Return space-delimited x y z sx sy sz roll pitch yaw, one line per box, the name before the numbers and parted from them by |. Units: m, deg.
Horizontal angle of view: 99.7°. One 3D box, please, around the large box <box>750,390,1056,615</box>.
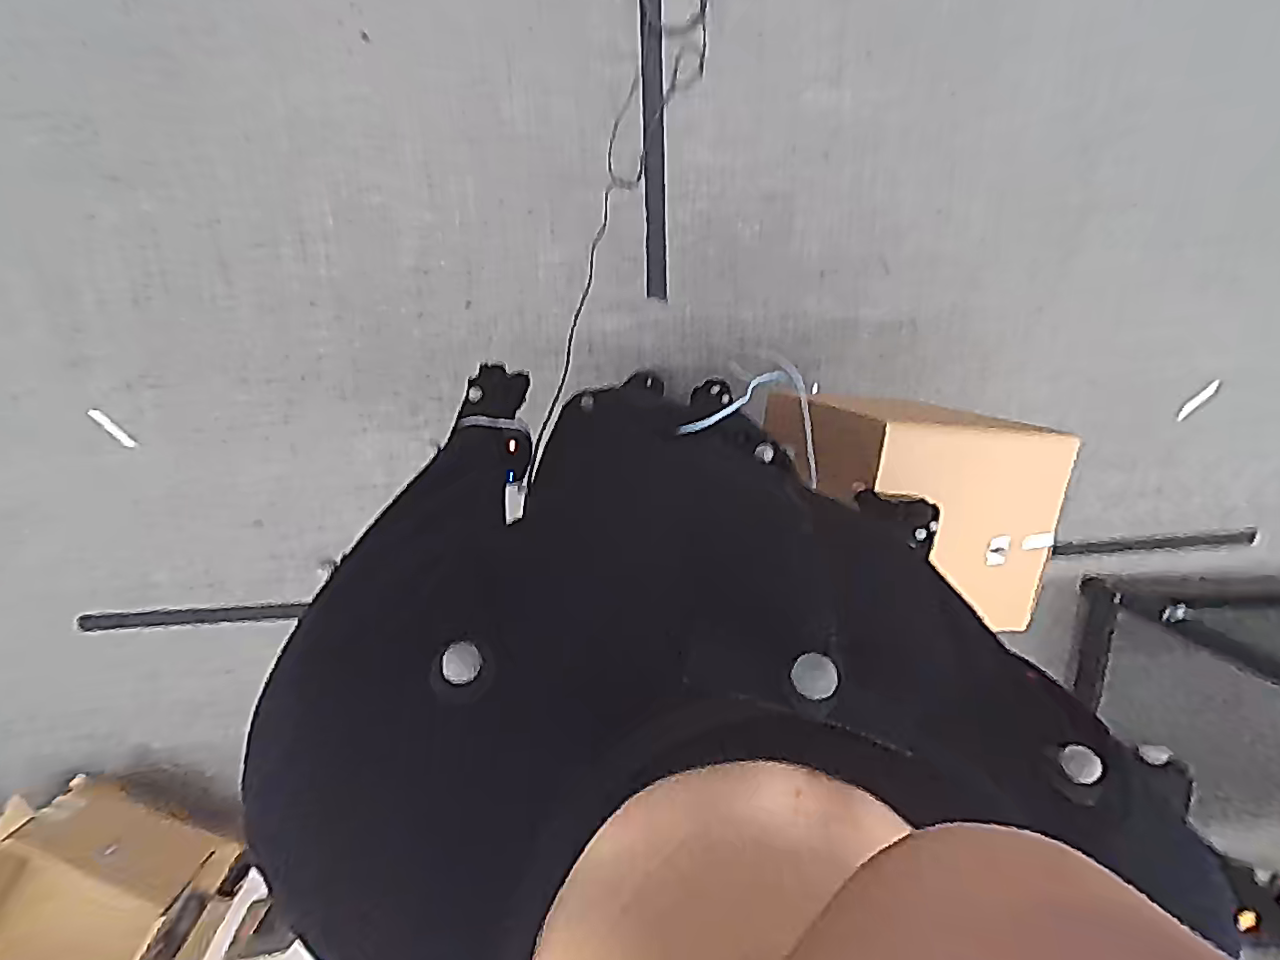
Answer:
large box | 0.429 0.015 0.986 0.320 0.408 0.320 3 105 -9
